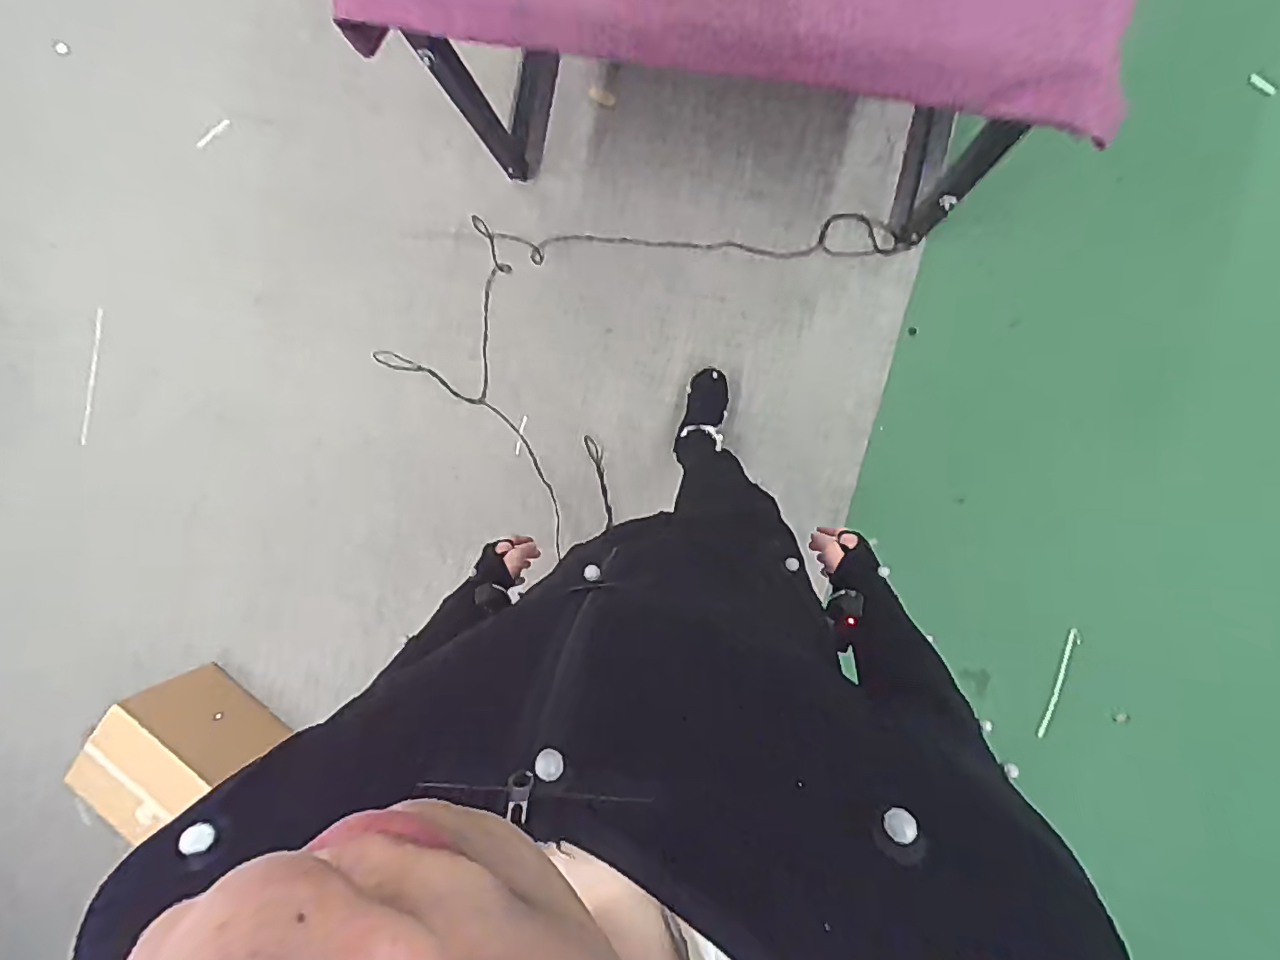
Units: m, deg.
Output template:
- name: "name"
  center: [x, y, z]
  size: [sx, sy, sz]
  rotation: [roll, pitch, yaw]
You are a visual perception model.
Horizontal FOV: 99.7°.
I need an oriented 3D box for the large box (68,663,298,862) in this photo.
- name: "large box"
  center: [-1.409, 0.859, 1.698]
  size: [0.408, 0.320, 0.320]
  rotation: [37, 98, 3]
